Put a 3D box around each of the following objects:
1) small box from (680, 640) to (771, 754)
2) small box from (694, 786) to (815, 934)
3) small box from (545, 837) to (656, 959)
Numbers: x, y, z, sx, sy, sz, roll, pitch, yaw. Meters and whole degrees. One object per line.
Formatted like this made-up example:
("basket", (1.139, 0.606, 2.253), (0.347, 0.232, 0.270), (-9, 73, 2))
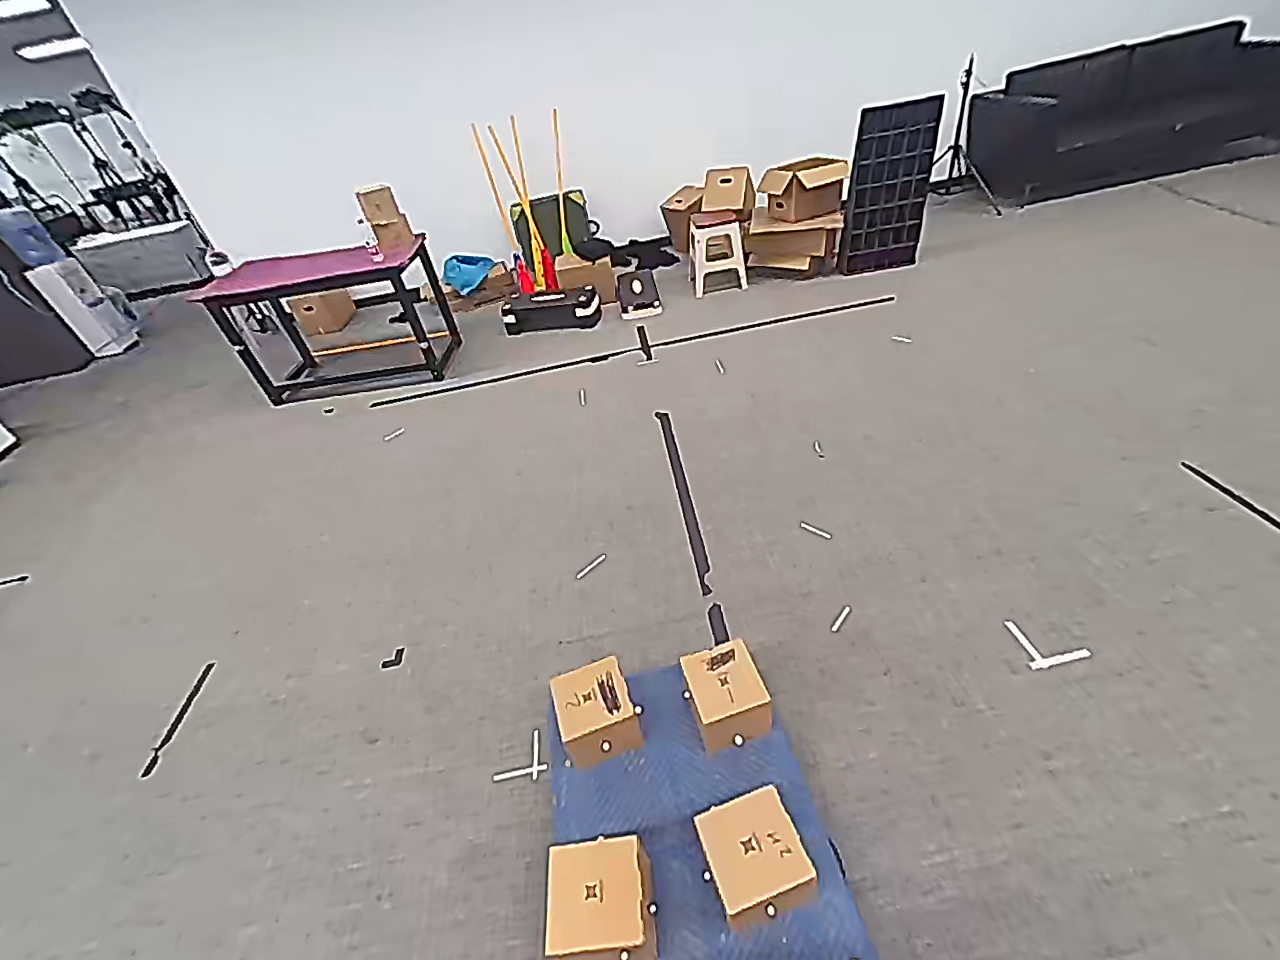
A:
("small box", (0.205, 0.527, 1.313), (0.168, 0.176, 0.179), (-17, 41, -6))
("small box", (0.221, 0.742, 1.053), (0.179, 0.176, 0.168), (-18, 40, -8))
("small box", (-0.073, 0.819, 1.037), (0.179, 0.176, 0.168), (-9, 39, 1))
